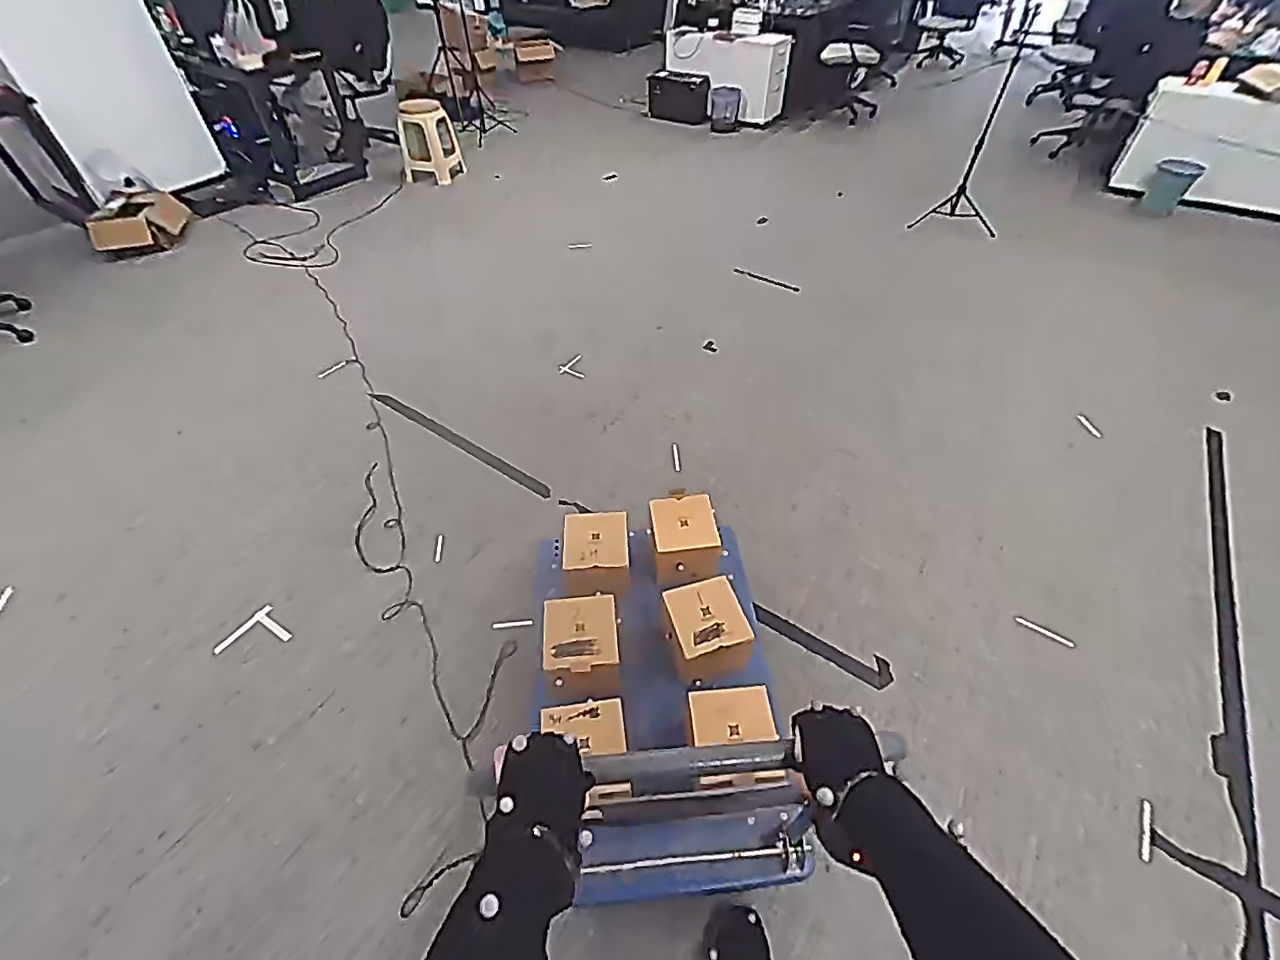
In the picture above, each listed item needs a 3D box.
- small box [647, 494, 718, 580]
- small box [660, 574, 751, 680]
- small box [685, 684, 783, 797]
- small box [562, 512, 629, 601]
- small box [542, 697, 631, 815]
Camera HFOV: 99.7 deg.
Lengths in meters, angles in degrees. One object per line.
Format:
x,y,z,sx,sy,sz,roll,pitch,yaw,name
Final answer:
0.113,0.163,1.490,0.168,0.176,0.179,-6,48,-5,small box
0.152,0.362,1.308,0.168,0.176,0.179,-13,48,-11,small box
0.187,0.552,1.137,0.168,0.176,0.179,-3,47,-3,small box
-0.116,0.205,1.453,0.168,0.176,0.179,-3,48,-2,small box
-0.109,0.575,1.117,0.168,0.176,0.179,-6,48,-6,small box
